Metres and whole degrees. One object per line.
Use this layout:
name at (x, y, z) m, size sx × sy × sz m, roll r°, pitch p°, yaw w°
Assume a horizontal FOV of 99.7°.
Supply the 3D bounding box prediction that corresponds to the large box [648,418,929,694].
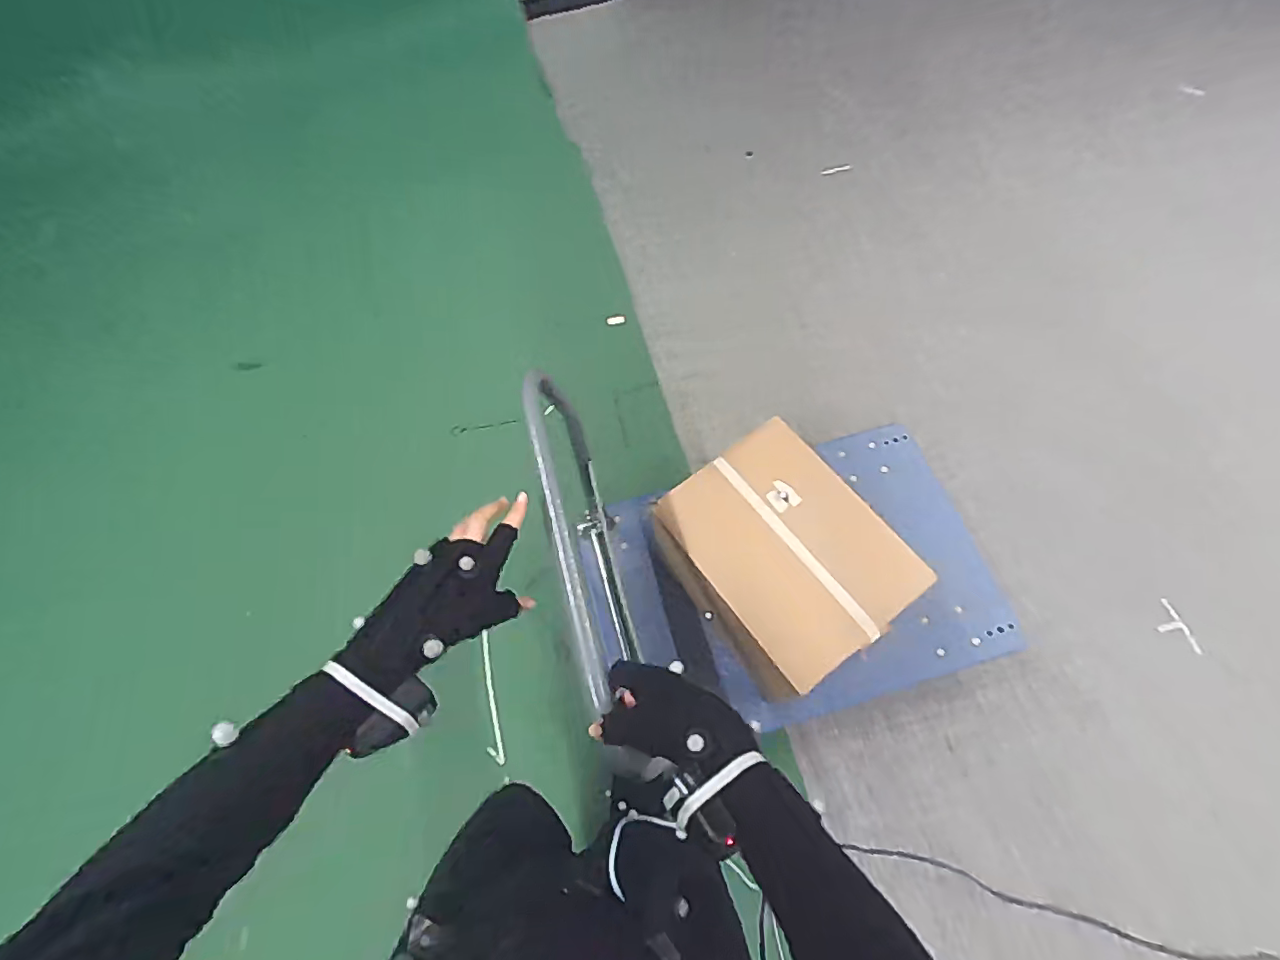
large box at (0.264, 0.164, 1.087) m, size 0.320 × 0.320 × 0.408 m, roll -34°, pitch 68°, yaw -11°
